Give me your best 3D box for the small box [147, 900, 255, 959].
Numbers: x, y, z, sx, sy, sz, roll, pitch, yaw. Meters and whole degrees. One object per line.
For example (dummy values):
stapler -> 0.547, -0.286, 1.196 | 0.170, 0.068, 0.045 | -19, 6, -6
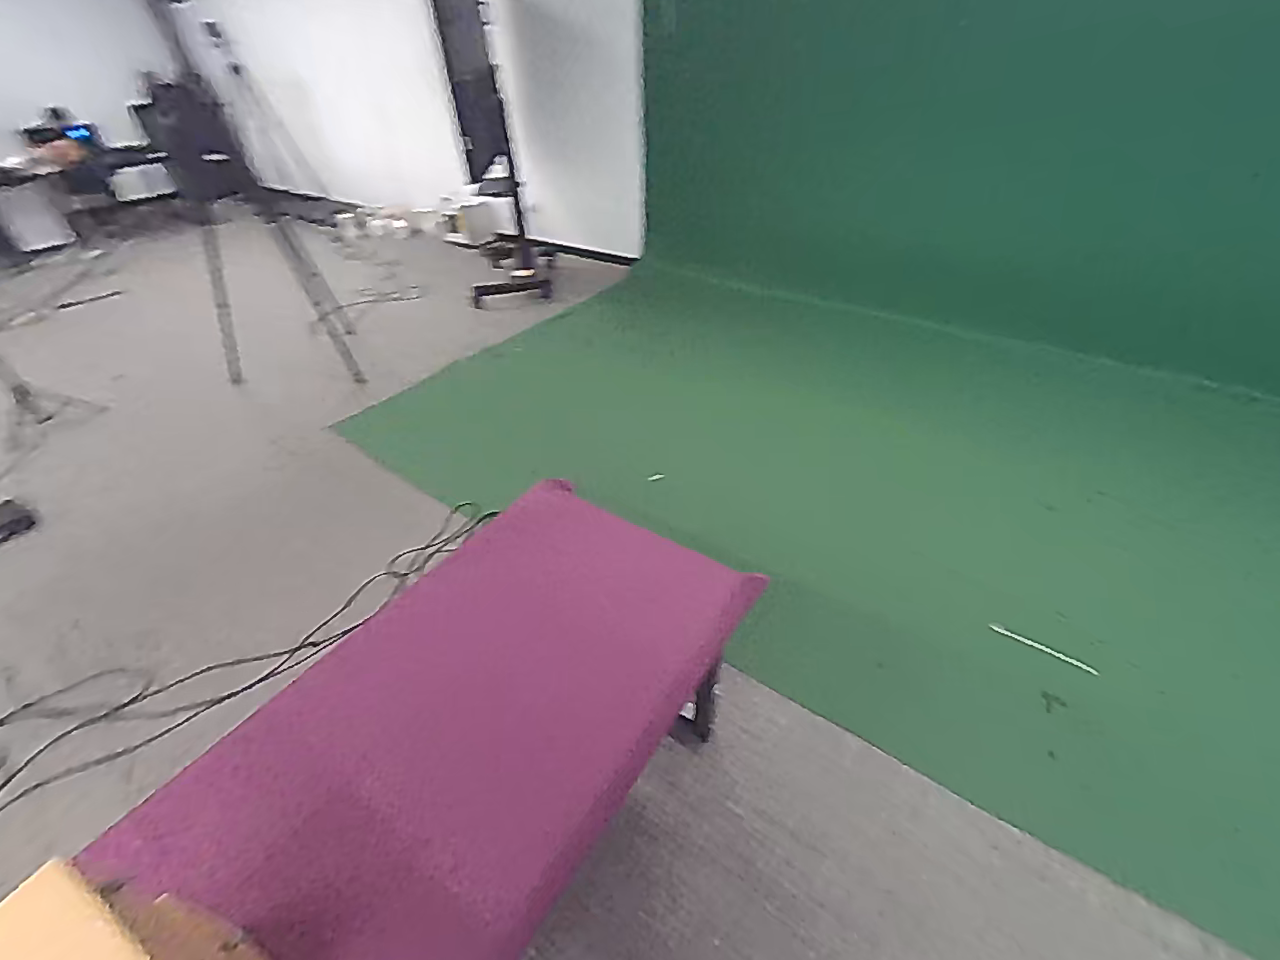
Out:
small box -> -0.526, 0.621, 0.594 | 0.179, 0.176, 0.168 | 18, 43, 22

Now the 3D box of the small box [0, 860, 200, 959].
small box -> -0.533, 0.497, 0.486 | 0.179, 0.176, 0.168 | 18, 43, 22
